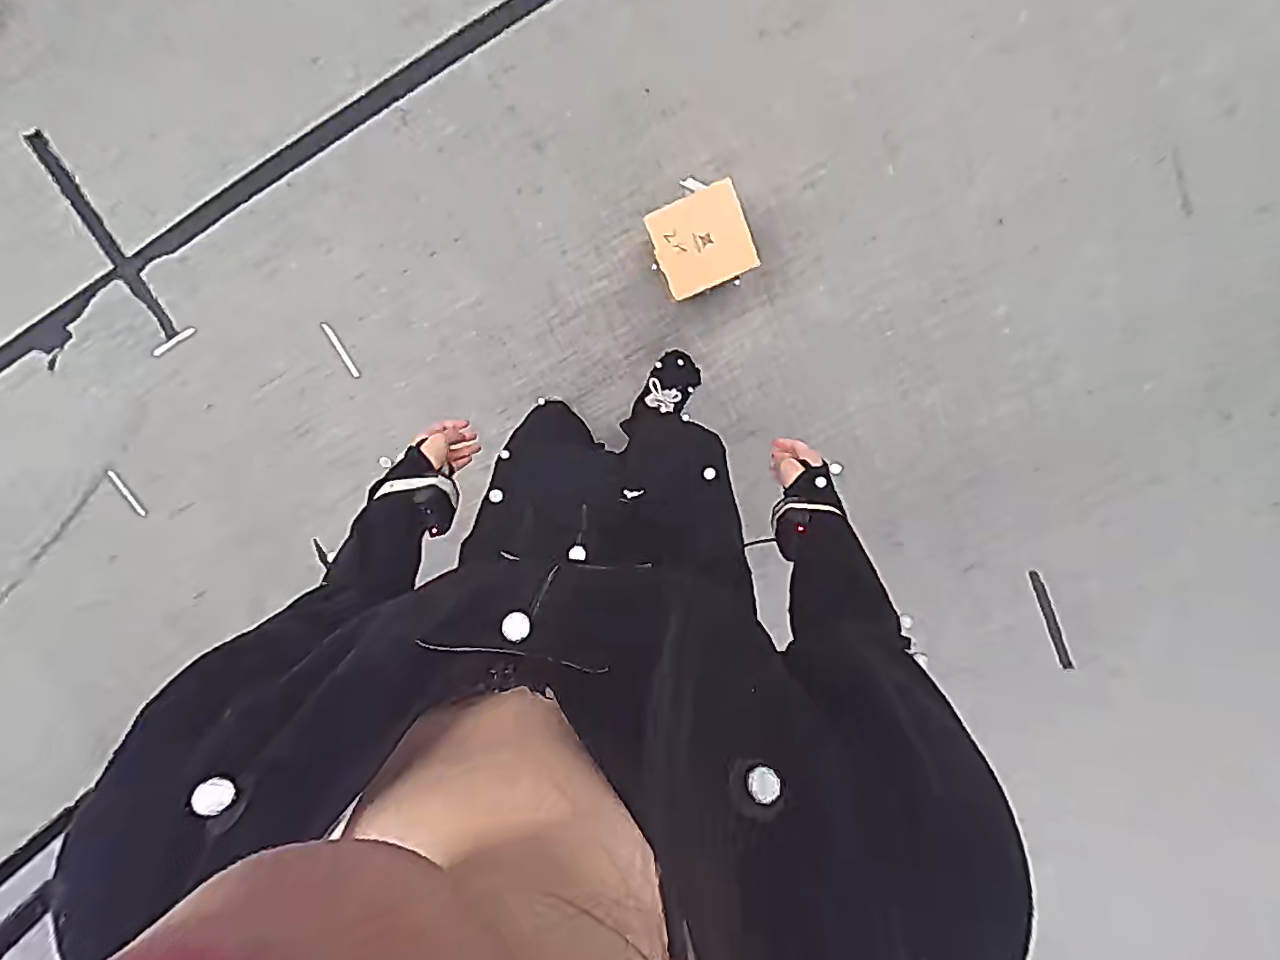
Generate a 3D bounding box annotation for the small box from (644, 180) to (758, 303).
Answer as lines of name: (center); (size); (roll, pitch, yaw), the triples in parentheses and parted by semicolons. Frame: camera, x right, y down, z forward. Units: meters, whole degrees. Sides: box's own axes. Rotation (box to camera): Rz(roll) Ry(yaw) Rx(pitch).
small box: (0.117, -0.469, 1.088); (0.179, 0.176, 0.168); (-21, 105, 9)
